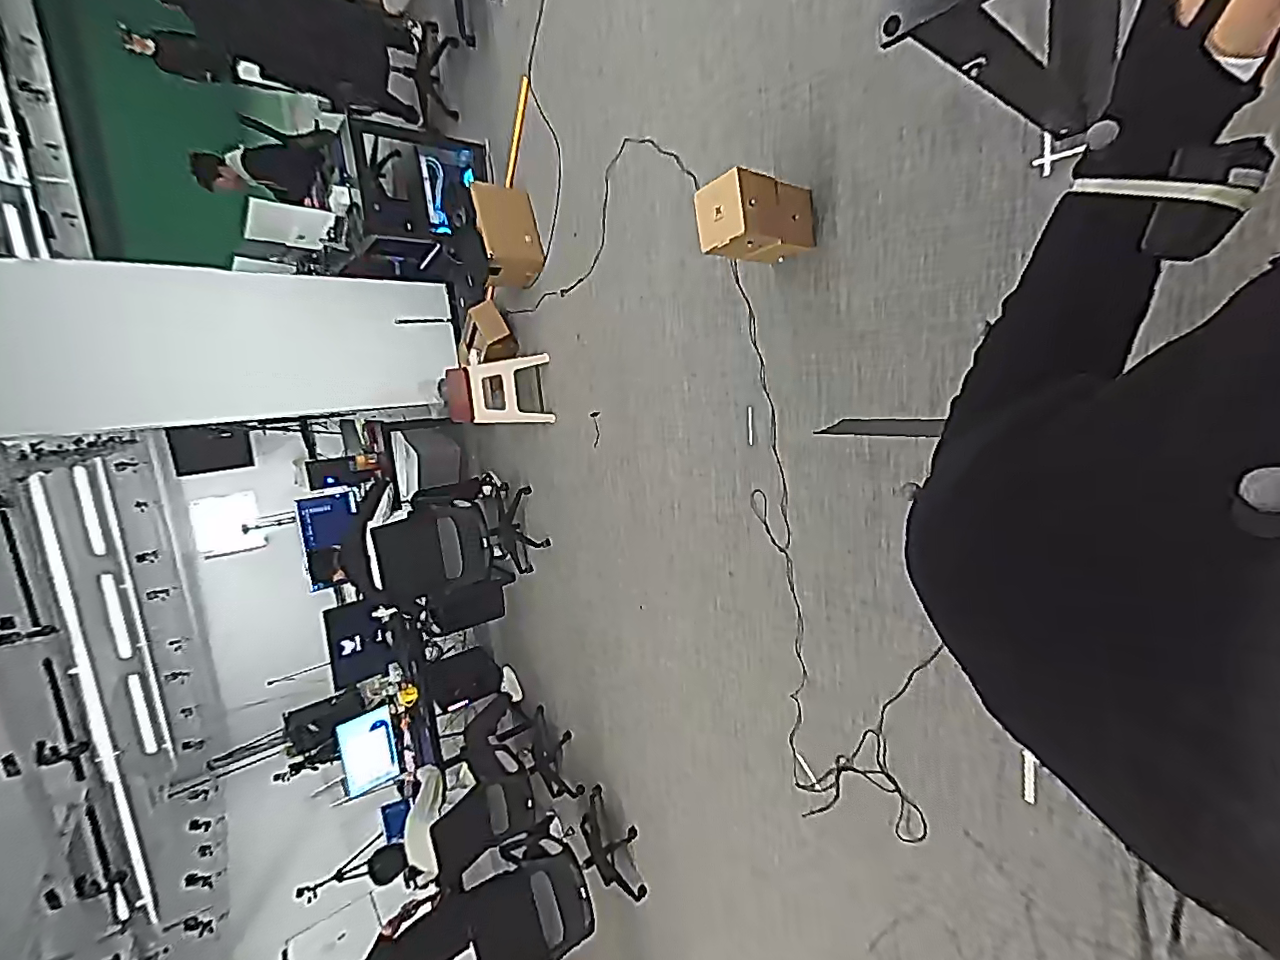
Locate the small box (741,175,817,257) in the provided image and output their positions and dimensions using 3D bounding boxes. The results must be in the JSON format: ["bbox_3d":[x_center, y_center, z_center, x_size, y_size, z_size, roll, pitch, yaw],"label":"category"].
[{"bbox_3d":[0.417,-0.793,1.643,0.168,0.176,0.179,3,103,52],"label":"small box"}]

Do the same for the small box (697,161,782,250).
[{"bbox_3d":[0.289,-0.771,1.546,0.168,0.176,0.179,-2,96,52],"label":"small box"}]
